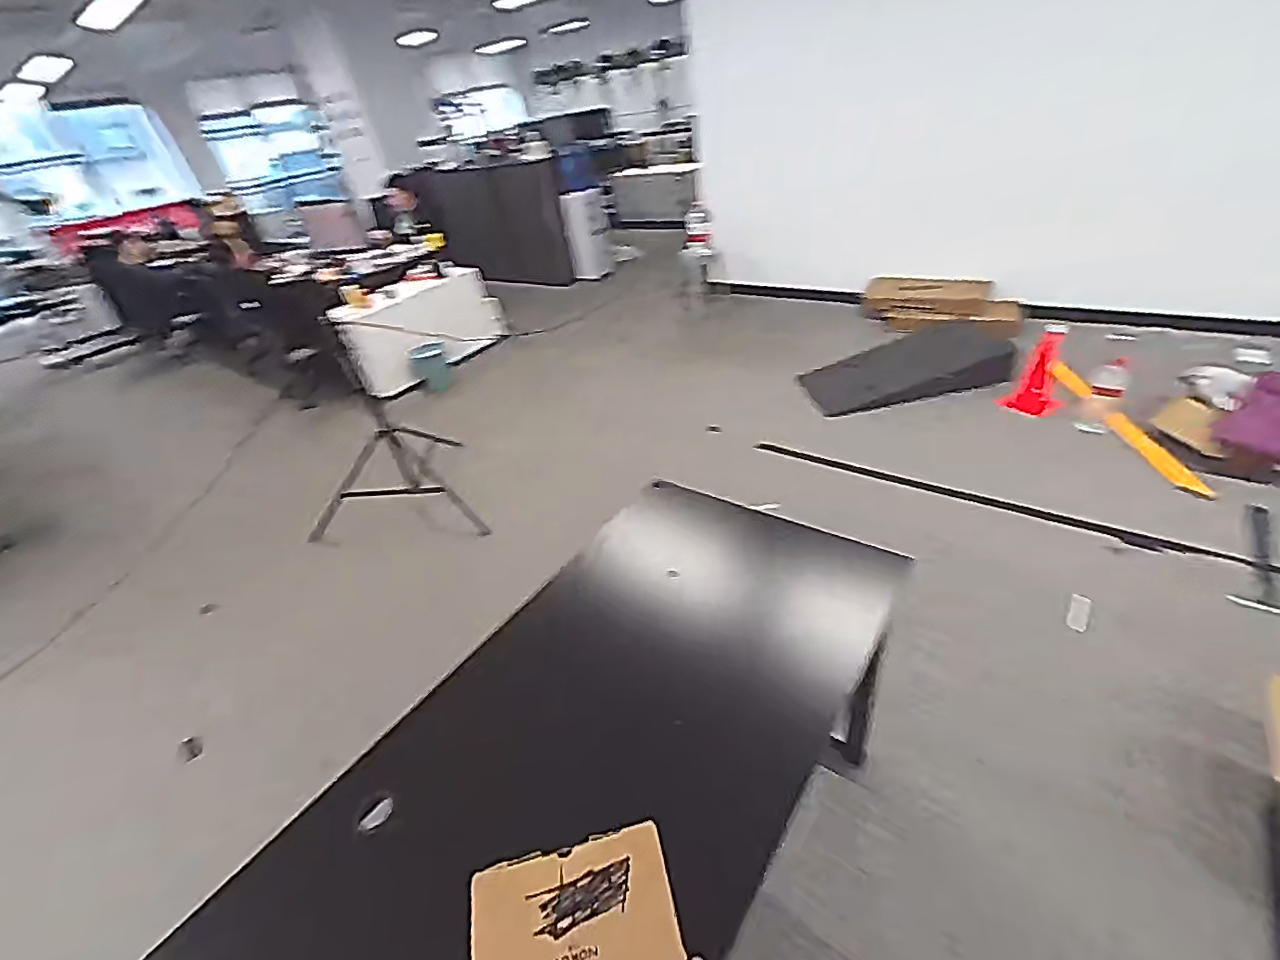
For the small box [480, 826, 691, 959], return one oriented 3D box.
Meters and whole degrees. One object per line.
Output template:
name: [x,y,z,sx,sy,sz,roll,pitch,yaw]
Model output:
small box: [-0.036,0.443,0.470,0.168,0.176,0.179,-13,41,-6]
